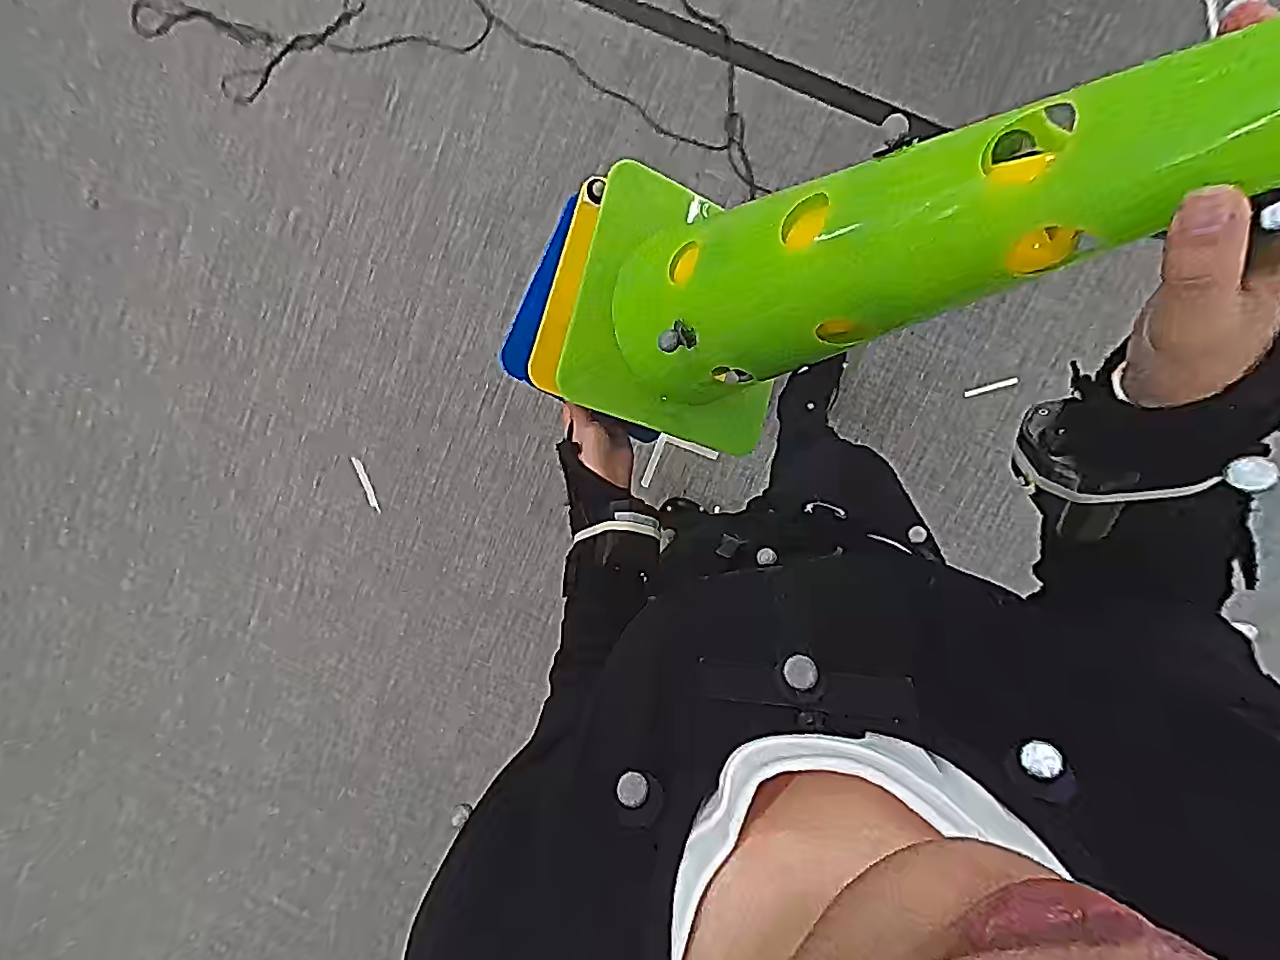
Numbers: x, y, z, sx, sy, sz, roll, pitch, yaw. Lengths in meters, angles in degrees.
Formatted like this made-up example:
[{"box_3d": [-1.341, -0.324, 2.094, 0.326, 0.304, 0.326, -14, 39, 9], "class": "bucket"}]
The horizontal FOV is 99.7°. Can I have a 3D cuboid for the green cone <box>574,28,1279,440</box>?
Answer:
[{"box_3d": [0.126, -0.131, 0.292, 0.200, 0.368, 0.202, 15, 90, -25], "class": "green cone"}]
